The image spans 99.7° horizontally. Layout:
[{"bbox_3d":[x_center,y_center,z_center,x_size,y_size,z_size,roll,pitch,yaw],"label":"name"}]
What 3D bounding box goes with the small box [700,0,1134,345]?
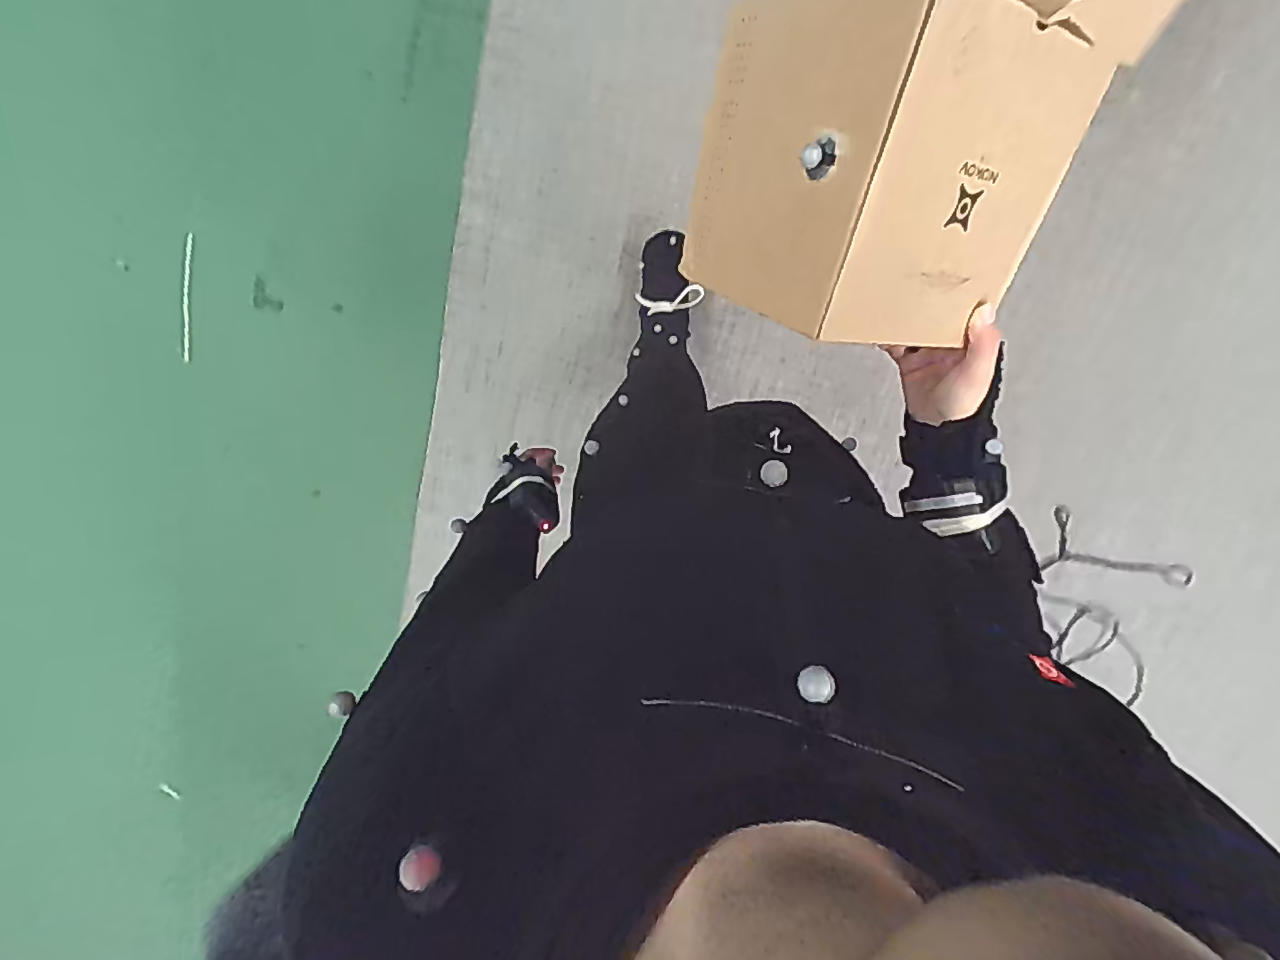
[{"bbox_3d":[0.163,-0.209,0.373,0.168,0.176,0.179,-4,124,-29],"label":"small box"}]
